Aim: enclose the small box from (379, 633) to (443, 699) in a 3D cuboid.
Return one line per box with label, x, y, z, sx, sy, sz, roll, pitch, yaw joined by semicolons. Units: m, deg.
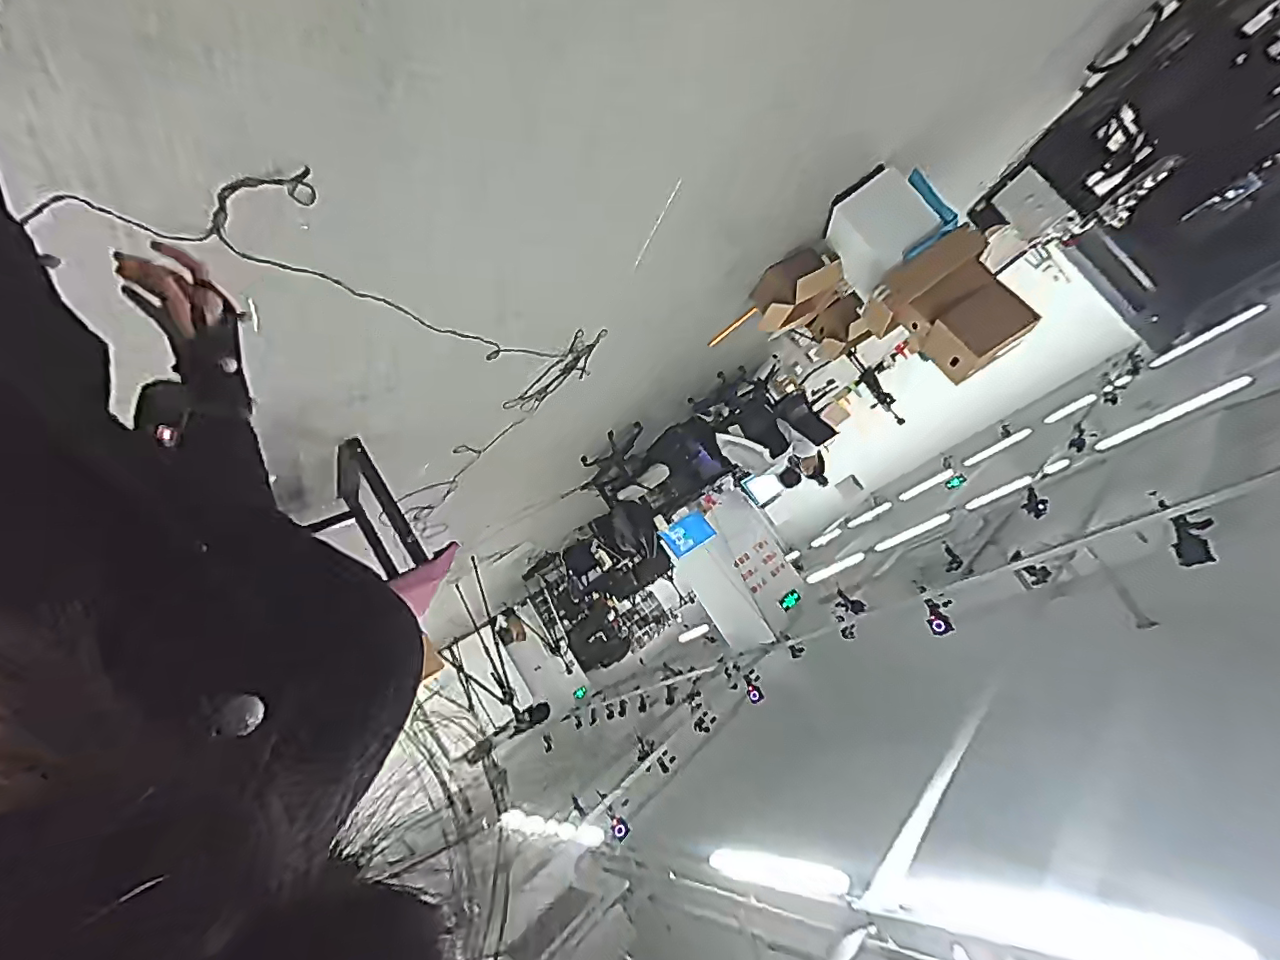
small box;-0.905;0.726;2.127;0.168;0.176;0.179;-27;168;-38
